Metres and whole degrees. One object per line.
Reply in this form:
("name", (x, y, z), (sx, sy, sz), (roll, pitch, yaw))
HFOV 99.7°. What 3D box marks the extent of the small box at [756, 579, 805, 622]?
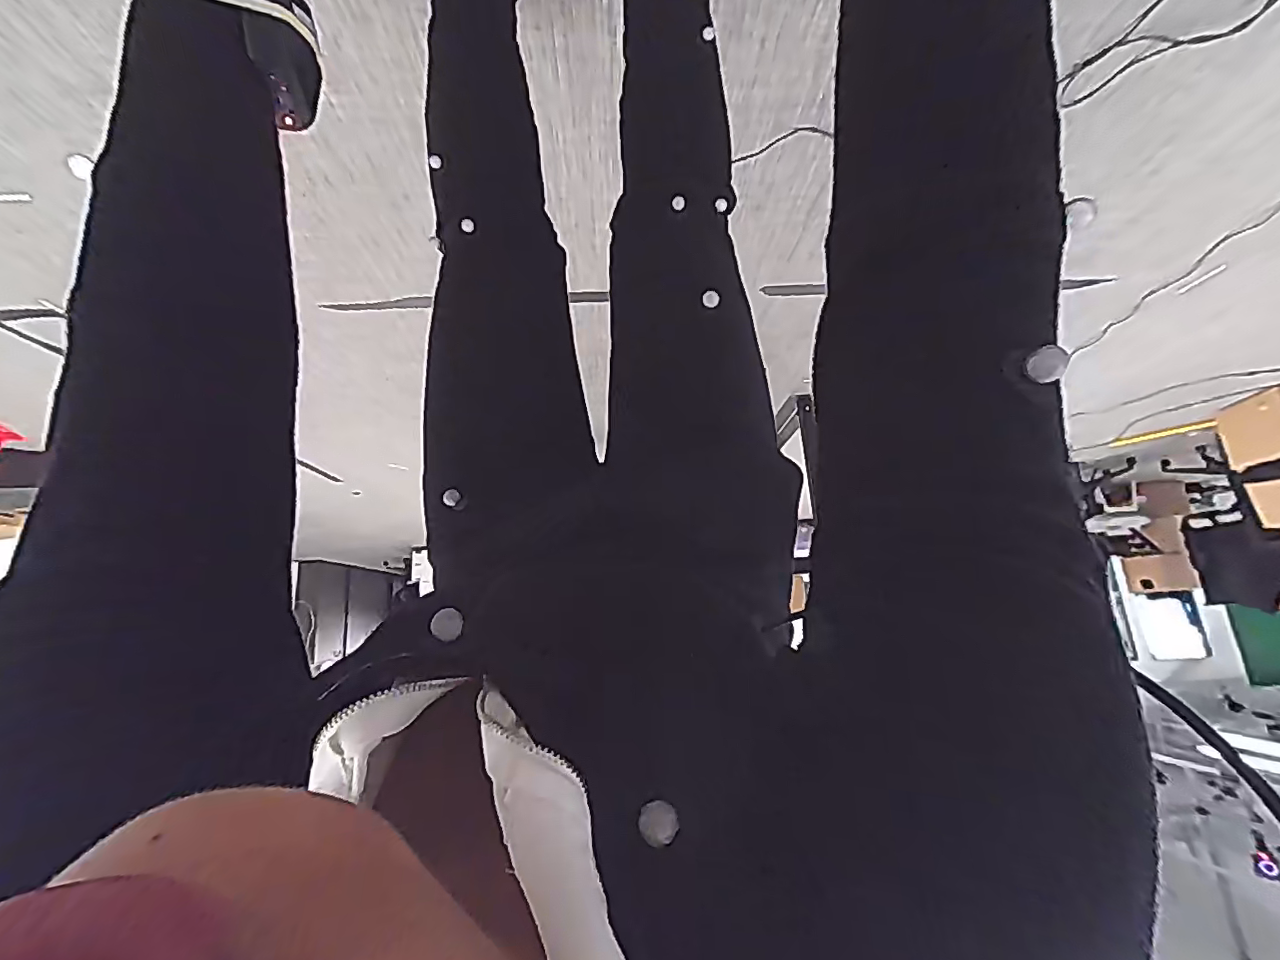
("small box", (0.601, 0.520, 2.338), (0.168, 0.176, 0.179), (-3, 167, 2))
